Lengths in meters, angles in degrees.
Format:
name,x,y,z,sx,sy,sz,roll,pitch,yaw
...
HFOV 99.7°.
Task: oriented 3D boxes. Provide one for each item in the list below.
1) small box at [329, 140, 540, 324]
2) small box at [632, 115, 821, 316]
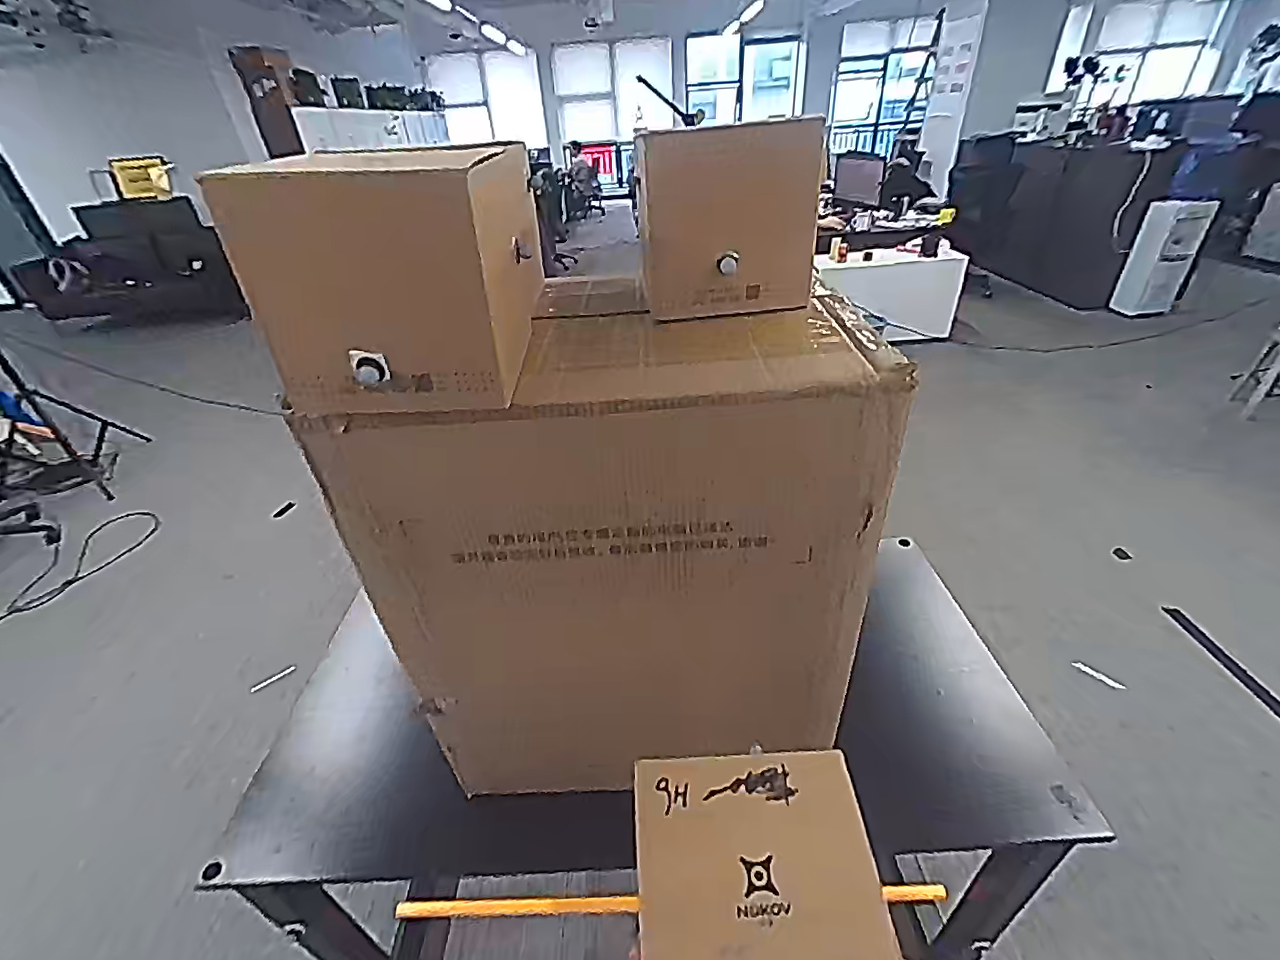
name,x,y,z,sx,sy,sz,roll,pitch,yaw
small box,-0.213,-0.285,0.619,0.168,0.176,0.179,-4,32,-1
small box,0.080,-0.286,0.587,0.168,0.176,0.179,-6,33,0
